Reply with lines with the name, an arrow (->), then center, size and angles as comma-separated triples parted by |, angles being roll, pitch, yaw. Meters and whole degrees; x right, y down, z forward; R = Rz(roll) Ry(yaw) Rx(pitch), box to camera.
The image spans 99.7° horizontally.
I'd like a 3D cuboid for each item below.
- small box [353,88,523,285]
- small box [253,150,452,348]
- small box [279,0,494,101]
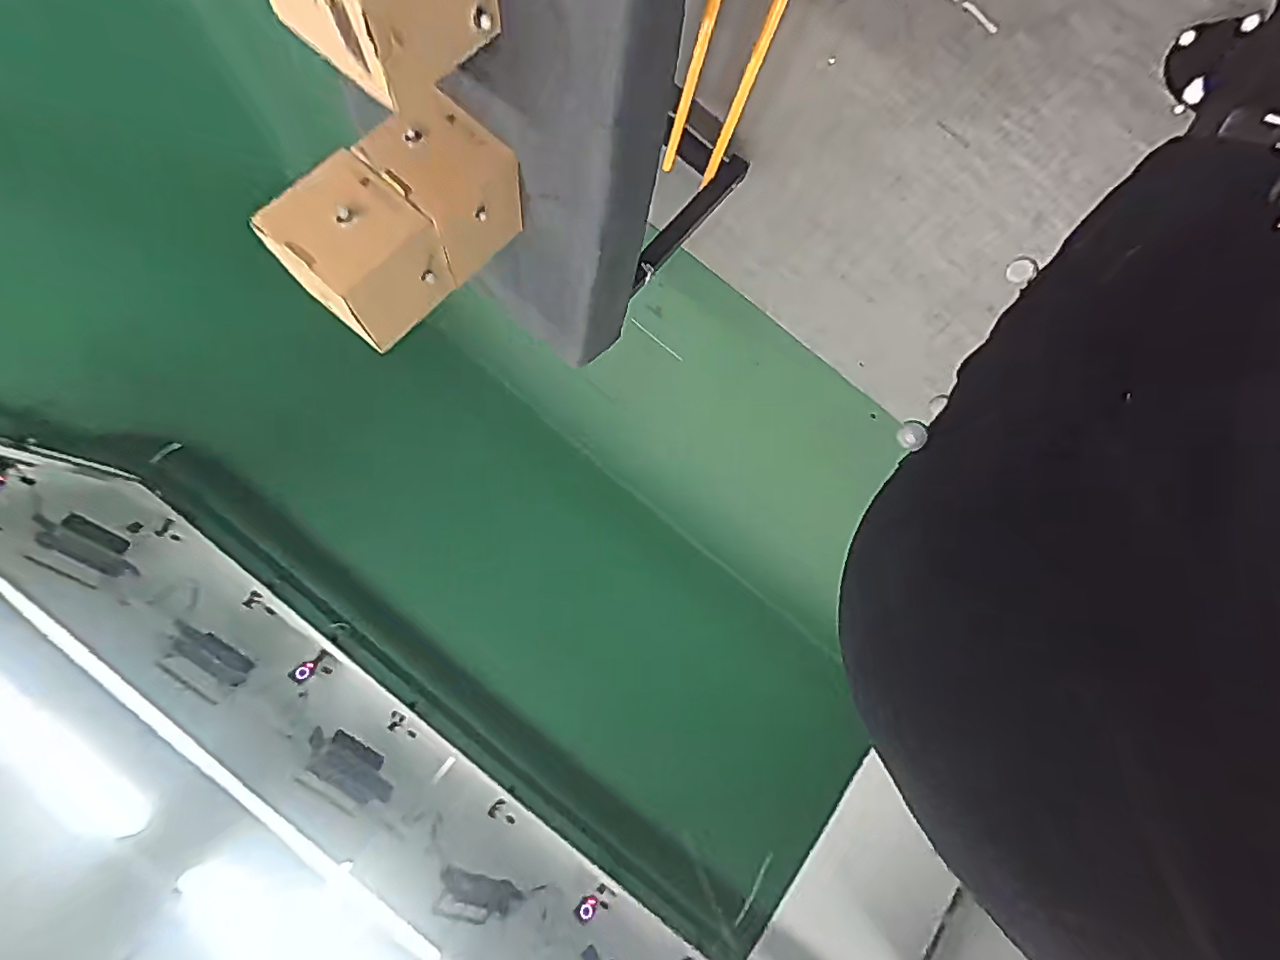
small box -> -0.301, -0.456, 0.849 | 0.168, 0.176, 0.179 | 42, 165, 1
small box -> -0.410, -0.340, 0.807 | 0.168, 0.176, 0.179 | 41, 164, 1
small box -> -0.258, -0.534, 0.524 | 0.179, 0.176, 0.168 | 41, 164, 1
